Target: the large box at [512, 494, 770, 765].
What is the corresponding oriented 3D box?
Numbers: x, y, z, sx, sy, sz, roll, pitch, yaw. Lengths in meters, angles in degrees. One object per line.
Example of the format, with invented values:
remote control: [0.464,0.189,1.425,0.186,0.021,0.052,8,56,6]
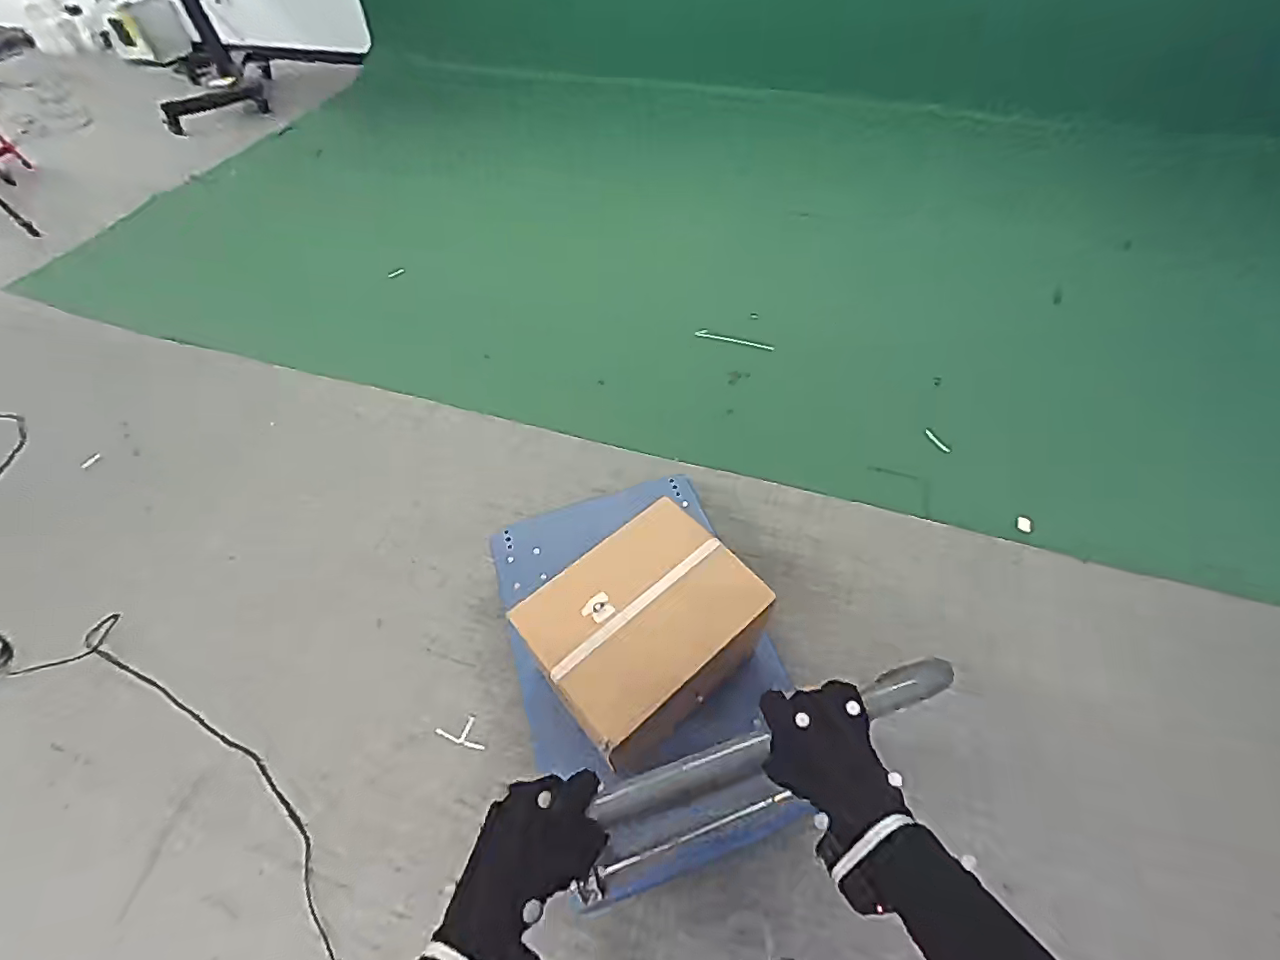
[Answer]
large box: [0.009,0.312,1.137,0.408,0.320,0.320,-36,60,-20]
